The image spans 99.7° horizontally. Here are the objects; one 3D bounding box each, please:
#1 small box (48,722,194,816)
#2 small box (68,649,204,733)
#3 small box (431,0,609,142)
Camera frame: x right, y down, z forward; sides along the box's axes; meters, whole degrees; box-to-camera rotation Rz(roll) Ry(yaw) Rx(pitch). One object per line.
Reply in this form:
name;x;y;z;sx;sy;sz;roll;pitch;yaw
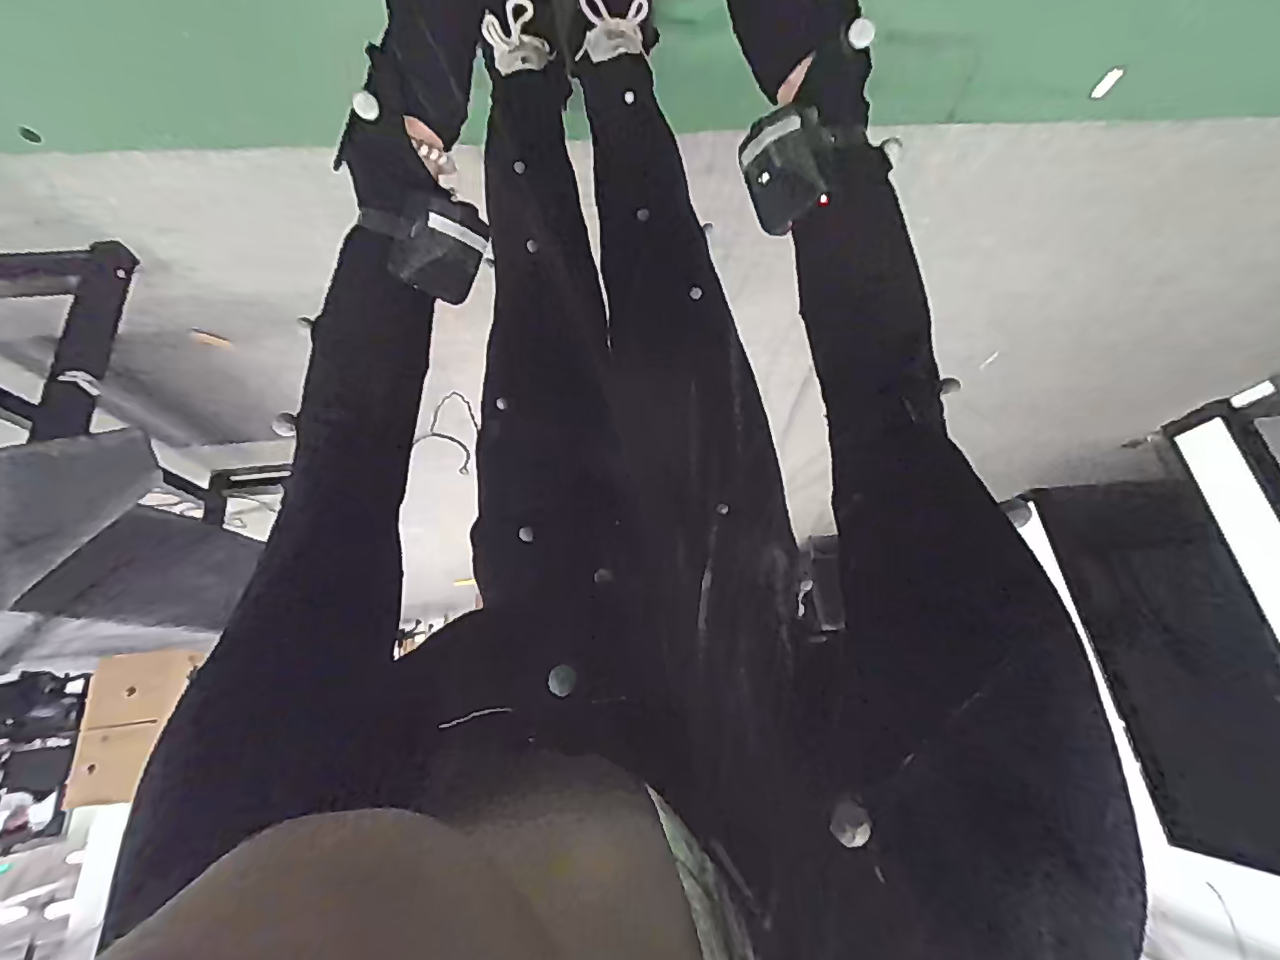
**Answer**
small box;-1.216;0.674;1.282;0.168;0.176;0.179;-5;159;-3
small box;-1.231;0.521;1.337;0.179;0.176;0.168;-5;159;-6
small box;-0.172;-0.634;0.757;0.179;0.176;0.168;29;152;-28
